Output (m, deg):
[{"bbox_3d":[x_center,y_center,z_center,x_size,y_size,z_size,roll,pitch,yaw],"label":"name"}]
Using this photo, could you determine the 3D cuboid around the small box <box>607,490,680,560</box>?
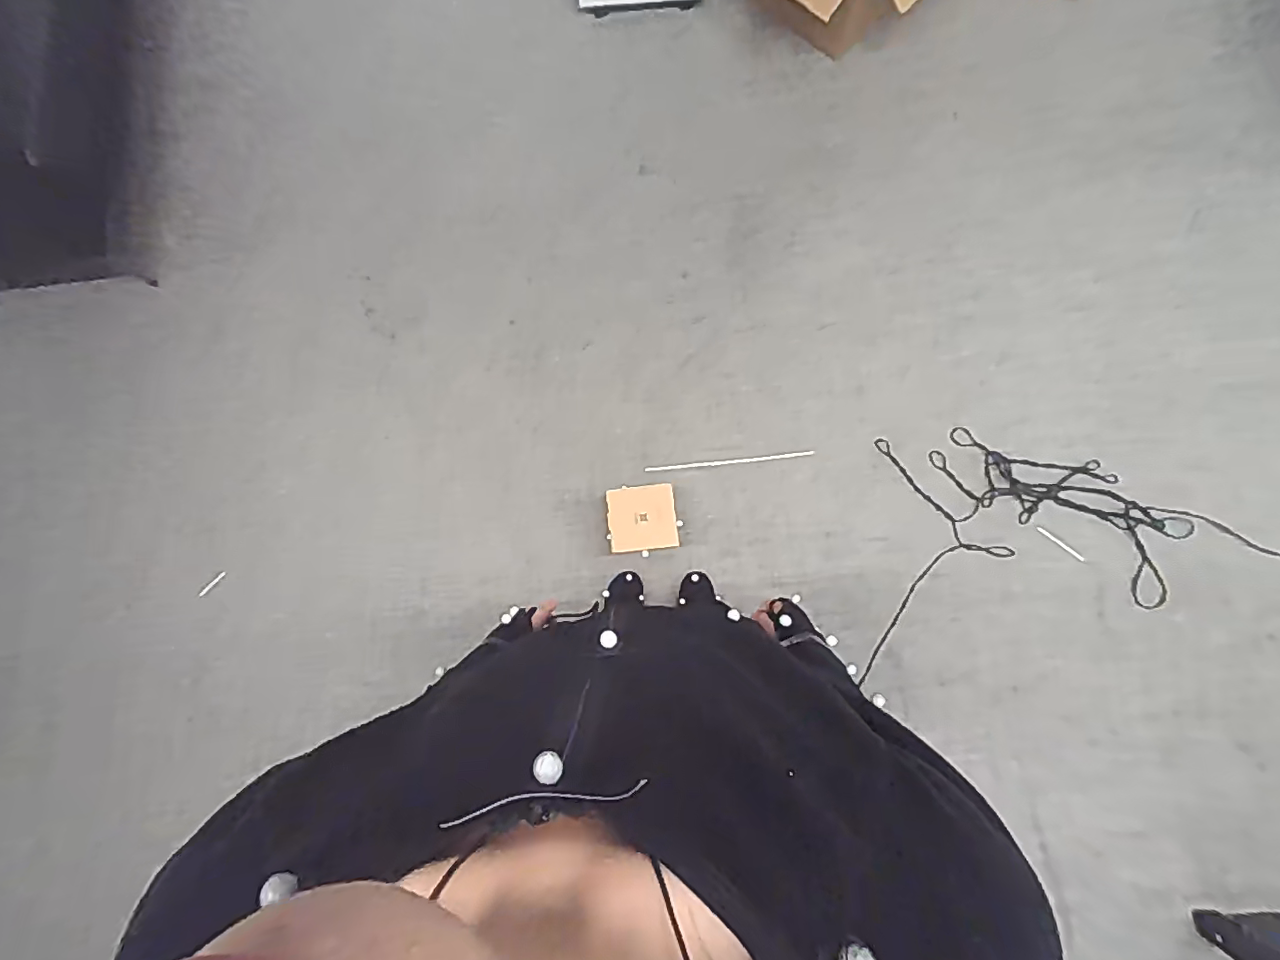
[{"bbox_3d":[0.013,0.126,1.451,0.179,0.176,0.168,-6,81,3],"label":"small box"}]
